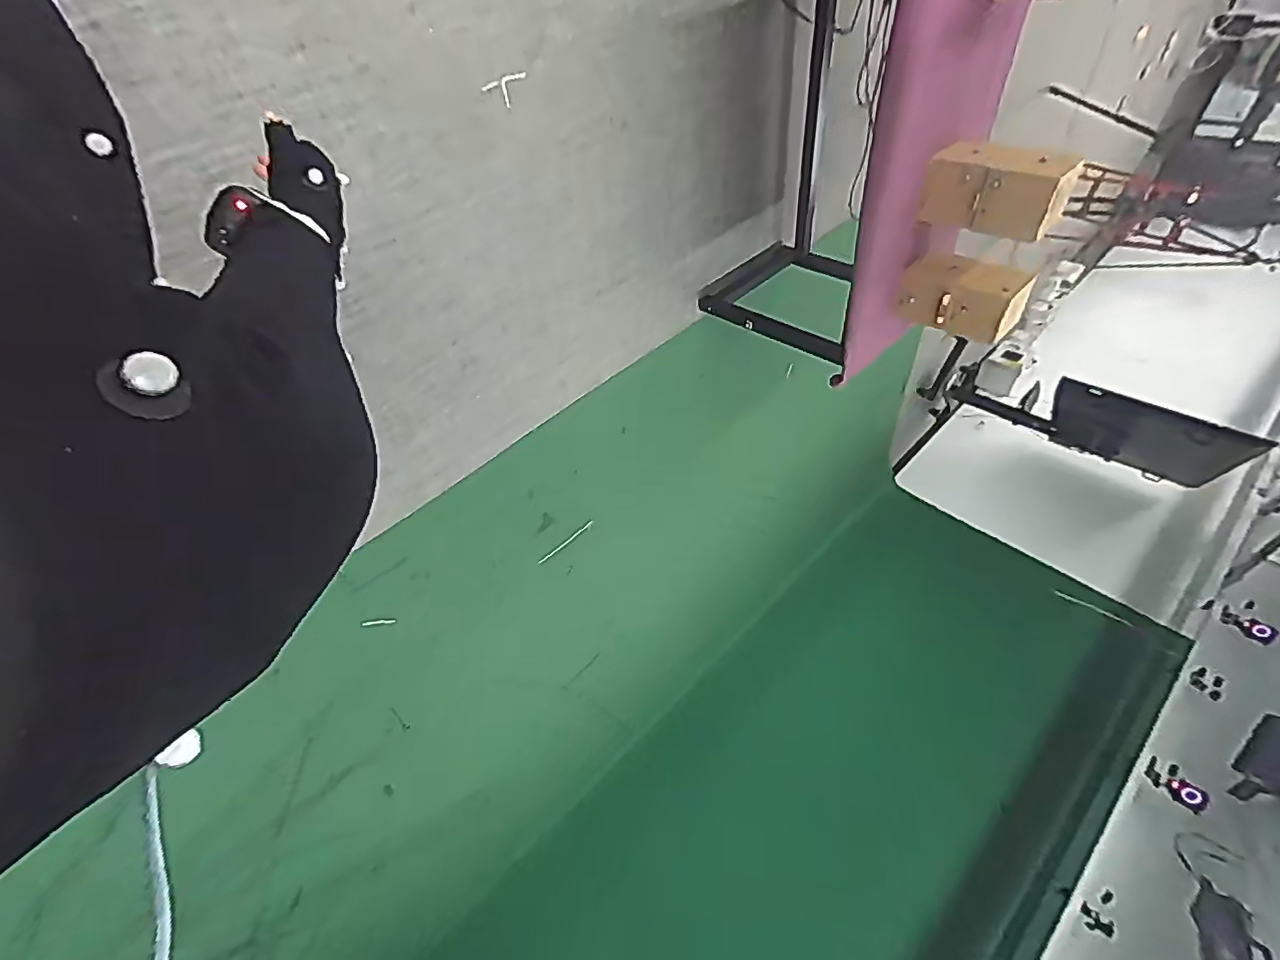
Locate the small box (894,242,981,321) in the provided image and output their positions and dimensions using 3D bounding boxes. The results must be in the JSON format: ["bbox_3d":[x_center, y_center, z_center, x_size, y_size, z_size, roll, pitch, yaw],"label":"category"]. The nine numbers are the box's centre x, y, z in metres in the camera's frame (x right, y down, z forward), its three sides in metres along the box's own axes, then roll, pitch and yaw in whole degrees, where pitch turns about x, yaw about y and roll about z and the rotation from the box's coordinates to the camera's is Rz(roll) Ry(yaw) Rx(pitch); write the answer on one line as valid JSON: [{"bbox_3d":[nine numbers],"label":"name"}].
[{"bbox_3d":[0.976,-0.659,1.783,0.179,0.176,0.168,-39,143,-21],"label":"small box"}]

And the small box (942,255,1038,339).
[{"bbox_3d":[1.089,-0.580,1.695,0.179,0.176,0.168,-39,143,-21],"label":"small box"}]

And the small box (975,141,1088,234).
[{"bbox_3d":[1.040,-0.788,1.452,0.179,0.176,0.168,-39,143,-24],"label":"small box"}]
